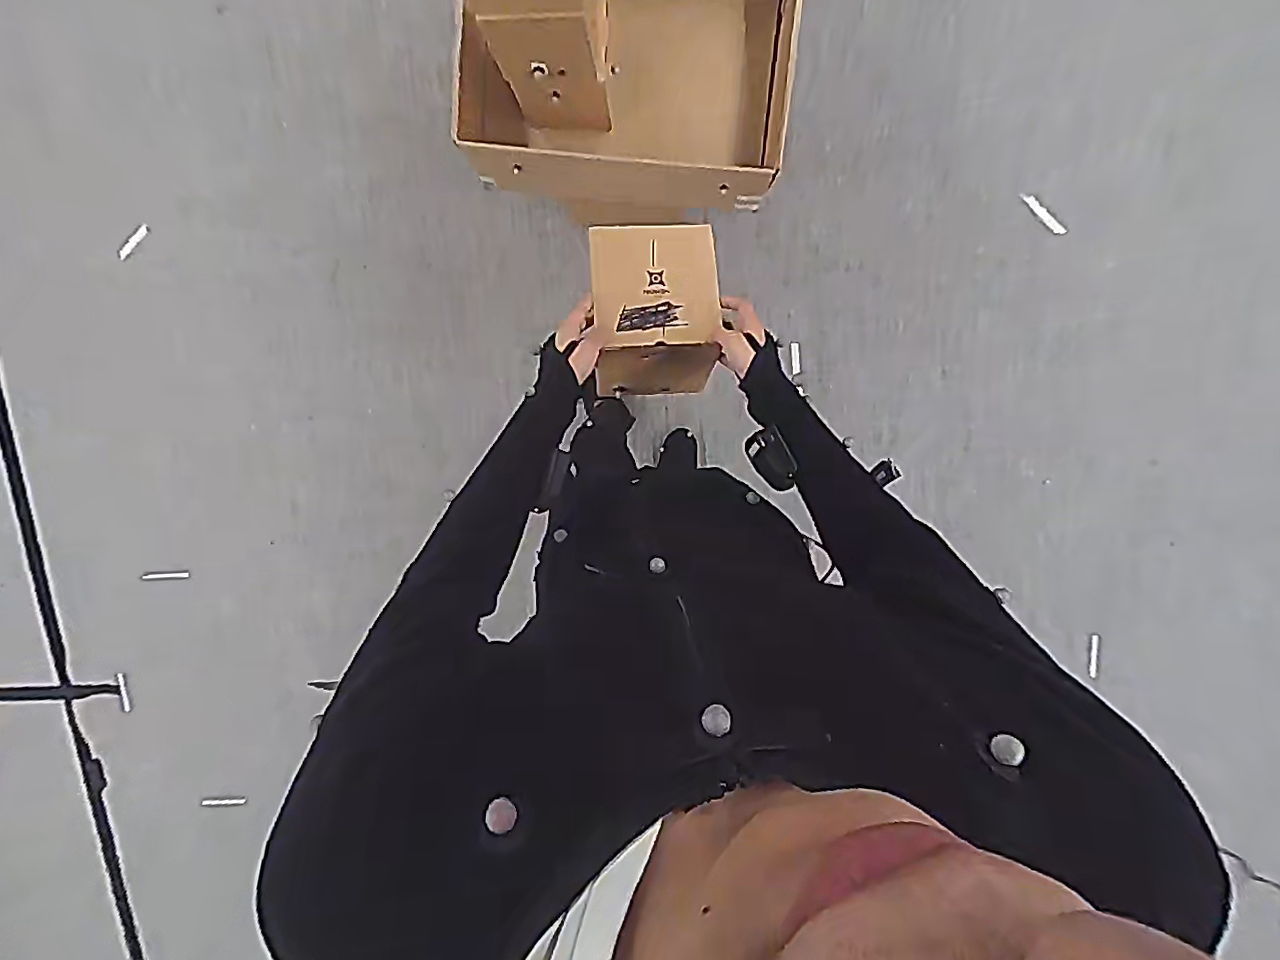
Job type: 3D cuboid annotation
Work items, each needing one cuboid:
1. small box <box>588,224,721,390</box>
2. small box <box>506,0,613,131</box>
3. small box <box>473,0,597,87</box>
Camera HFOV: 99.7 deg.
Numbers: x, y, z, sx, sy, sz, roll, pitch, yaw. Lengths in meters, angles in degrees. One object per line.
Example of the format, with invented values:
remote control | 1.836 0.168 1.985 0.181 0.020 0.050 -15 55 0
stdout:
small box | 0.014 -0.235 0.774 0.168 0.176 0.179 -3 78 -5
small box | -0.147 -0.792 1.026 0.179 0.176 0.168 2 98 0
small box | -0.161 -0.772 0.864 0.168 0.176 0.179 0 97 2
